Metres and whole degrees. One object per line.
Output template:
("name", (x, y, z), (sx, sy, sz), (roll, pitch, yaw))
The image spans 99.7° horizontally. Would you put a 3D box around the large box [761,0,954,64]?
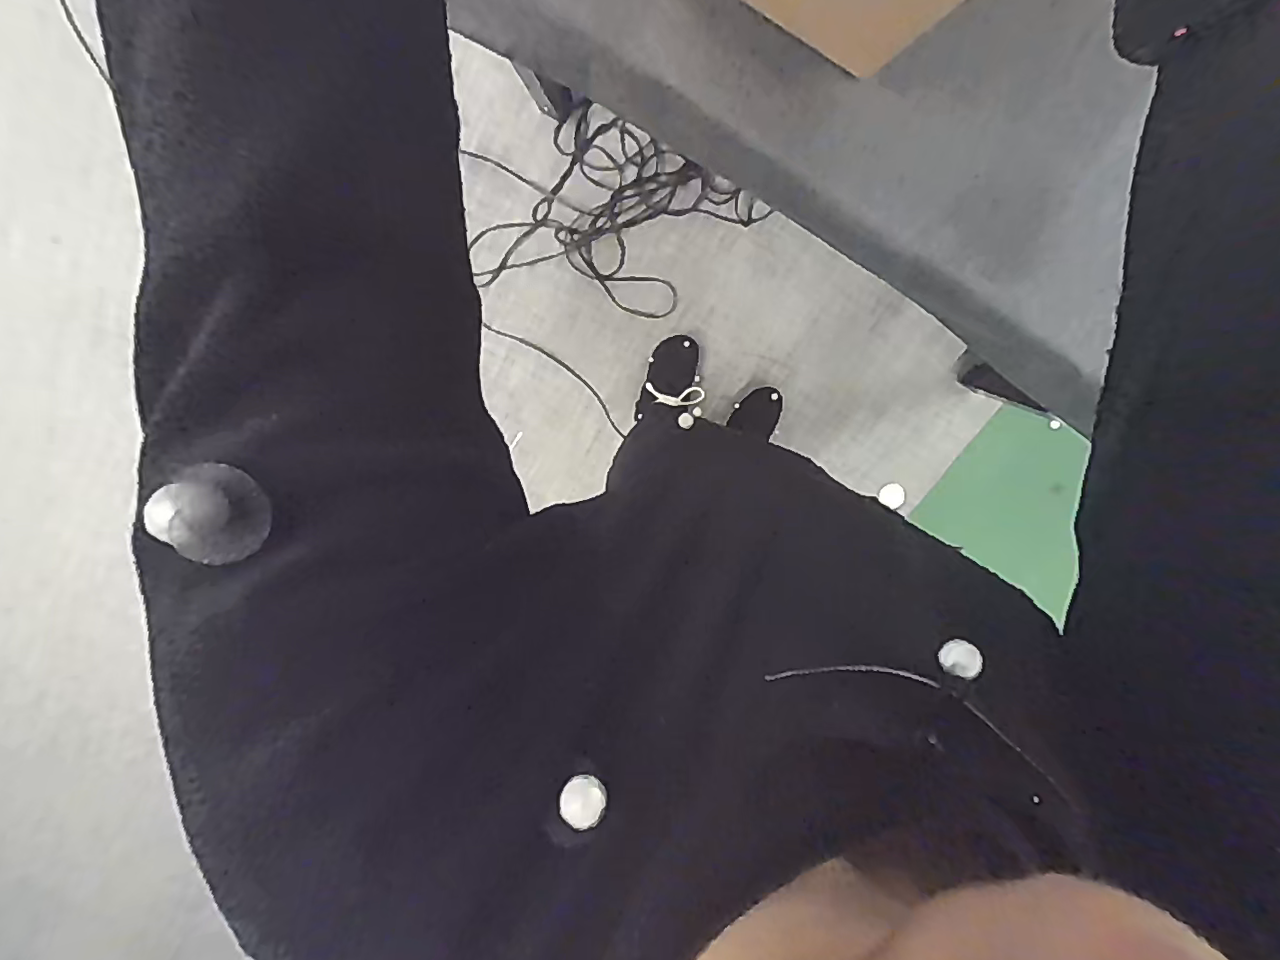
("large box", (0.095, -0.512, 0.257), (0.408, 0.320, 0.320), (24, 110, -11))
